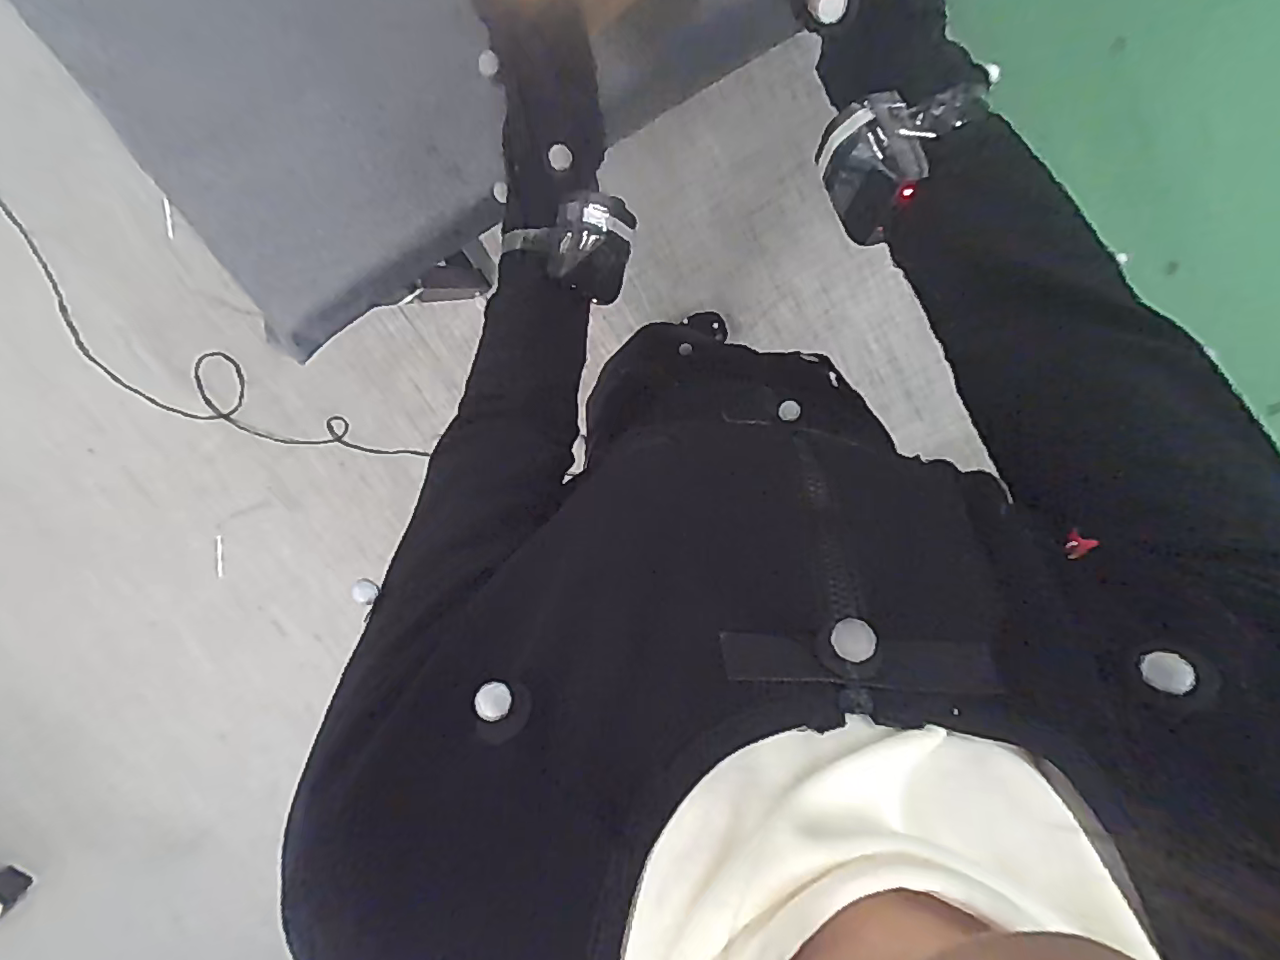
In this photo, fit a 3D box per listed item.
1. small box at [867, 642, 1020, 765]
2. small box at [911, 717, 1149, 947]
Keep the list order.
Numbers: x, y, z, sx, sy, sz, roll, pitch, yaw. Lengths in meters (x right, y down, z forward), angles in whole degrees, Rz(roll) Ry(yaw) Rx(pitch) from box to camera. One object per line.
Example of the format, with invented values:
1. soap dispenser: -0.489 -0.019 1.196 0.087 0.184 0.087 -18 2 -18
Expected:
1. small box: 0.503 0.401 0.876 0.168 0.176 0.179 -31 105 11
2. small box: 0.504 0.460 0.722 0.168 0.176 0.179 -34 107 12
